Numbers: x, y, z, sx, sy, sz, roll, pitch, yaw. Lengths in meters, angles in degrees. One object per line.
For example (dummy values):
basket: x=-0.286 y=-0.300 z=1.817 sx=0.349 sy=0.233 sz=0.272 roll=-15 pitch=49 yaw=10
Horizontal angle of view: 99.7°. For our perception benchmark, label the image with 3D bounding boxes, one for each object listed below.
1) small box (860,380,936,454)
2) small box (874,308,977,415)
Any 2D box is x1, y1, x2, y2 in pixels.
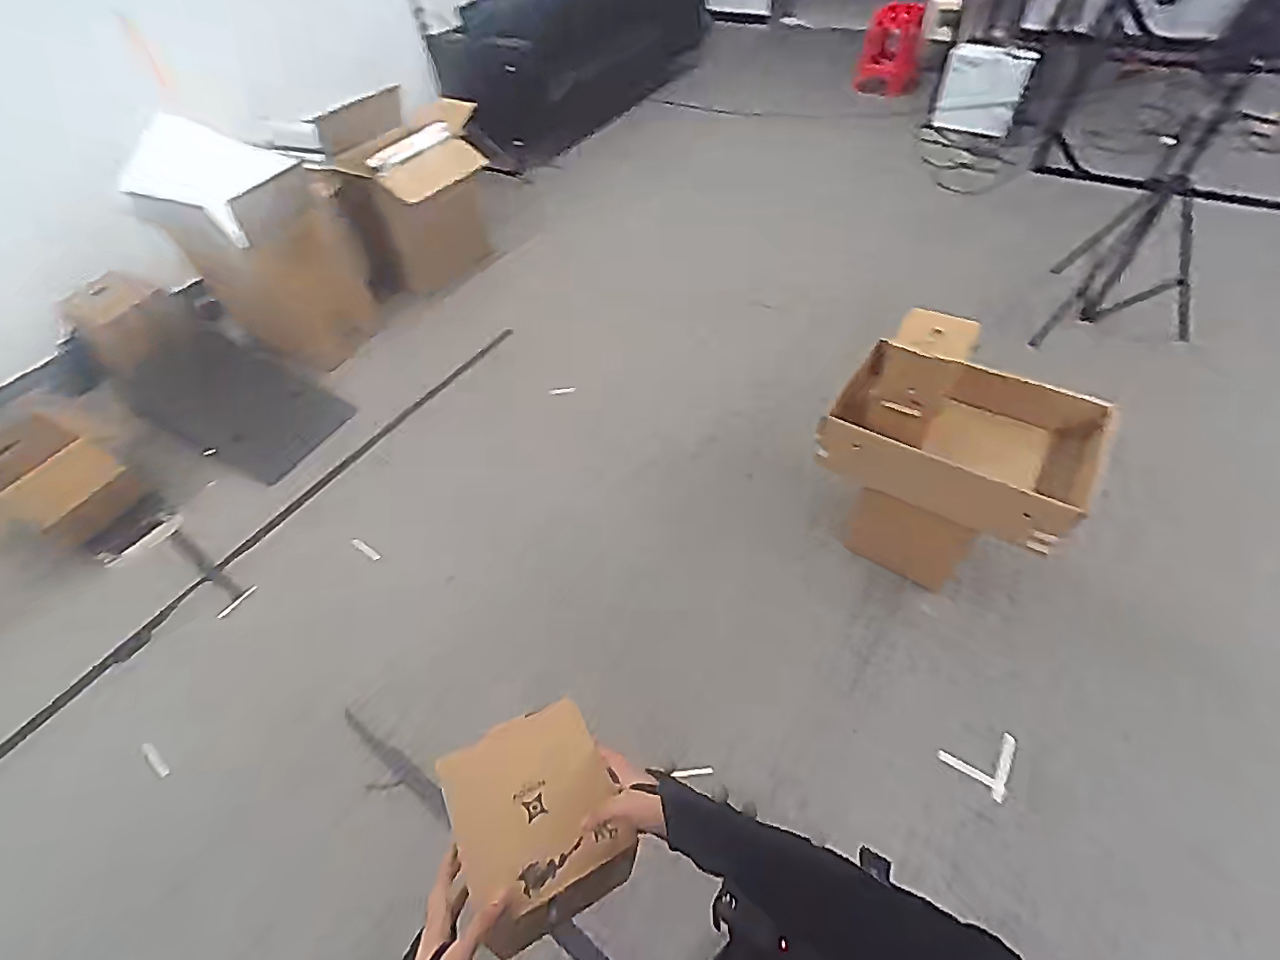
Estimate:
small box: x=0.724 y=-0.200 z=1.491 sx=0.168 sy=0.176 sz=0.179 roll=25 pitch=58 yaw=25
small box: x=0.710 y=-0.297 z=1.358 sx=0.168 sy=0.176 sz=0.179 roll=24 pitch=58 yaw=24
